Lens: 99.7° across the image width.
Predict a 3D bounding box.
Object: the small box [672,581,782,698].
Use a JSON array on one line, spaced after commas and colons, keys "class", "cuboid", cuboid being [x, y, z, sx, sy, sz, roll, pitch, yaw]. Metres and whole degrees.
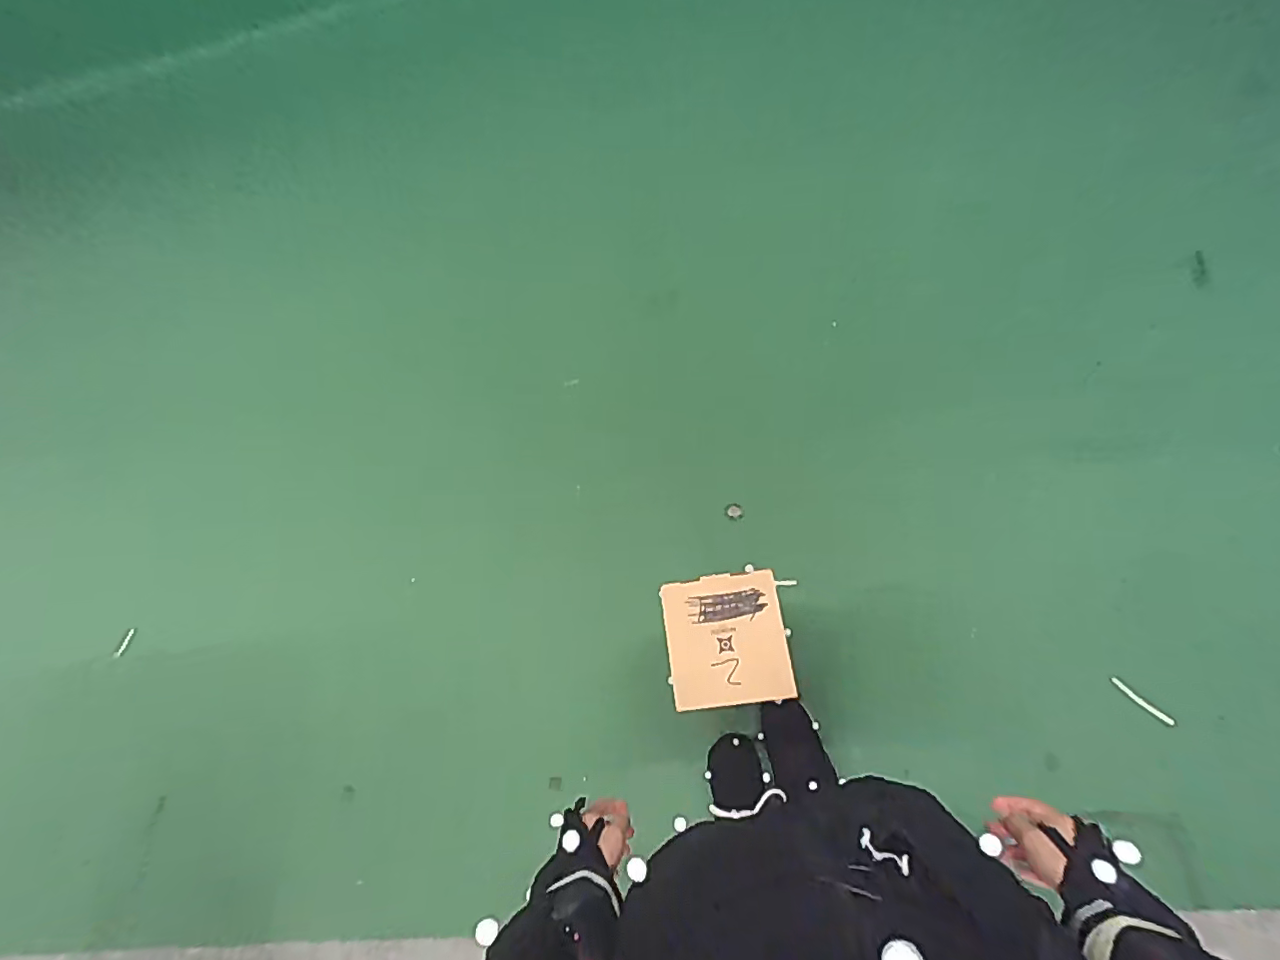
[{"class": "small box", "cuboid": [0.158, 0.290, 0.985, 0.168, 0.176, 0.179, -10, 70, 7]}]
